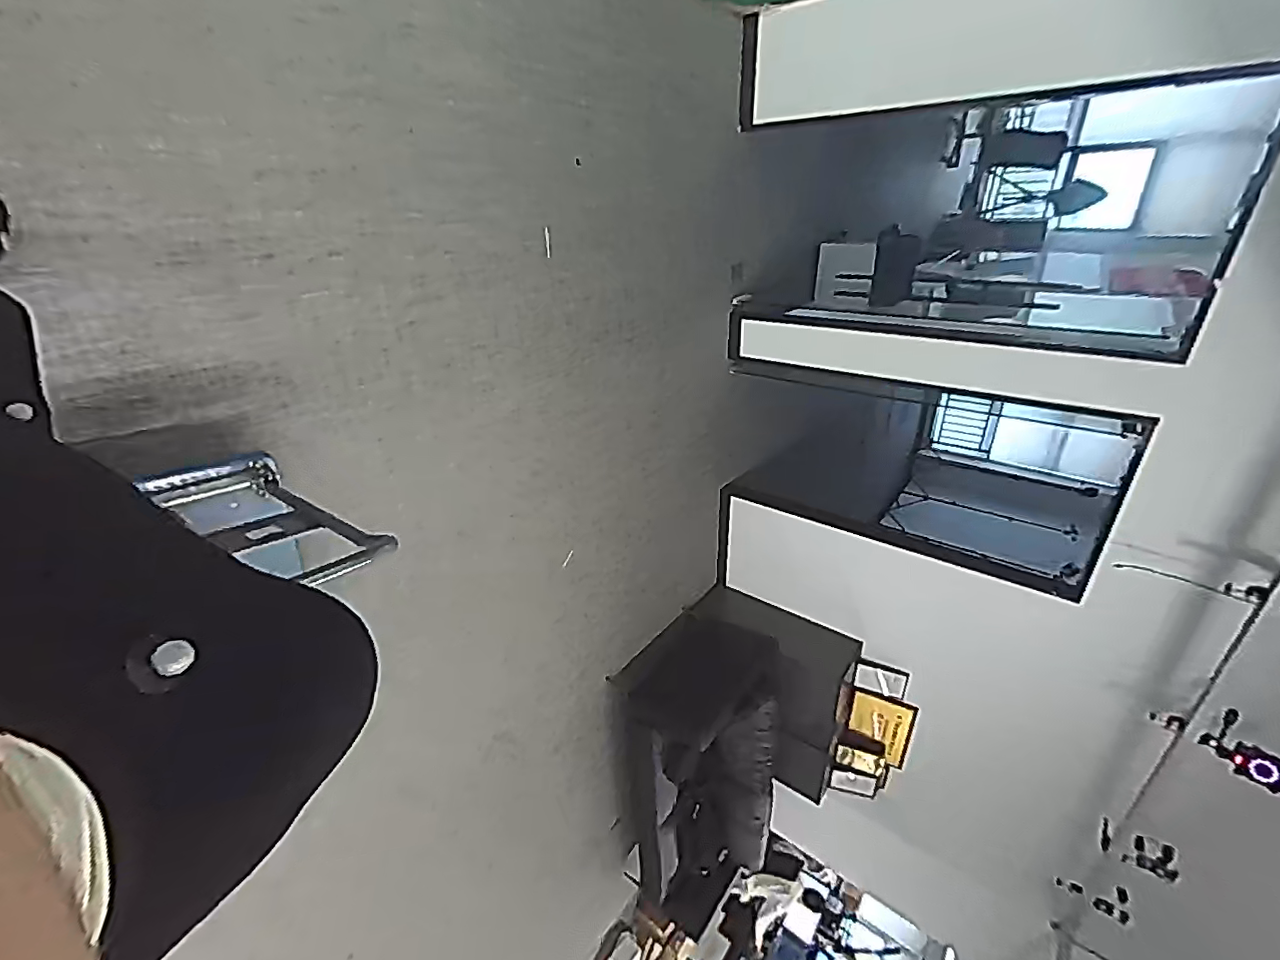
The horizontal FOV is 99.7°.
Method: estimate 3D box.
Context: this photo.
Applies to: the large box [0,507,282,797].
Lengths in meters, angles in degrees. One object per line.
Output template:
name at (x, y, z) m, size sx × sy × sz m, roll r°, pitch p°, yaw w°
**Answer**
large box at (-1.014, 0.321, 1.107) m, size 0.320 × 0.320 × 0.408 m, roll -26°, pitch 126°, yaw -47°
